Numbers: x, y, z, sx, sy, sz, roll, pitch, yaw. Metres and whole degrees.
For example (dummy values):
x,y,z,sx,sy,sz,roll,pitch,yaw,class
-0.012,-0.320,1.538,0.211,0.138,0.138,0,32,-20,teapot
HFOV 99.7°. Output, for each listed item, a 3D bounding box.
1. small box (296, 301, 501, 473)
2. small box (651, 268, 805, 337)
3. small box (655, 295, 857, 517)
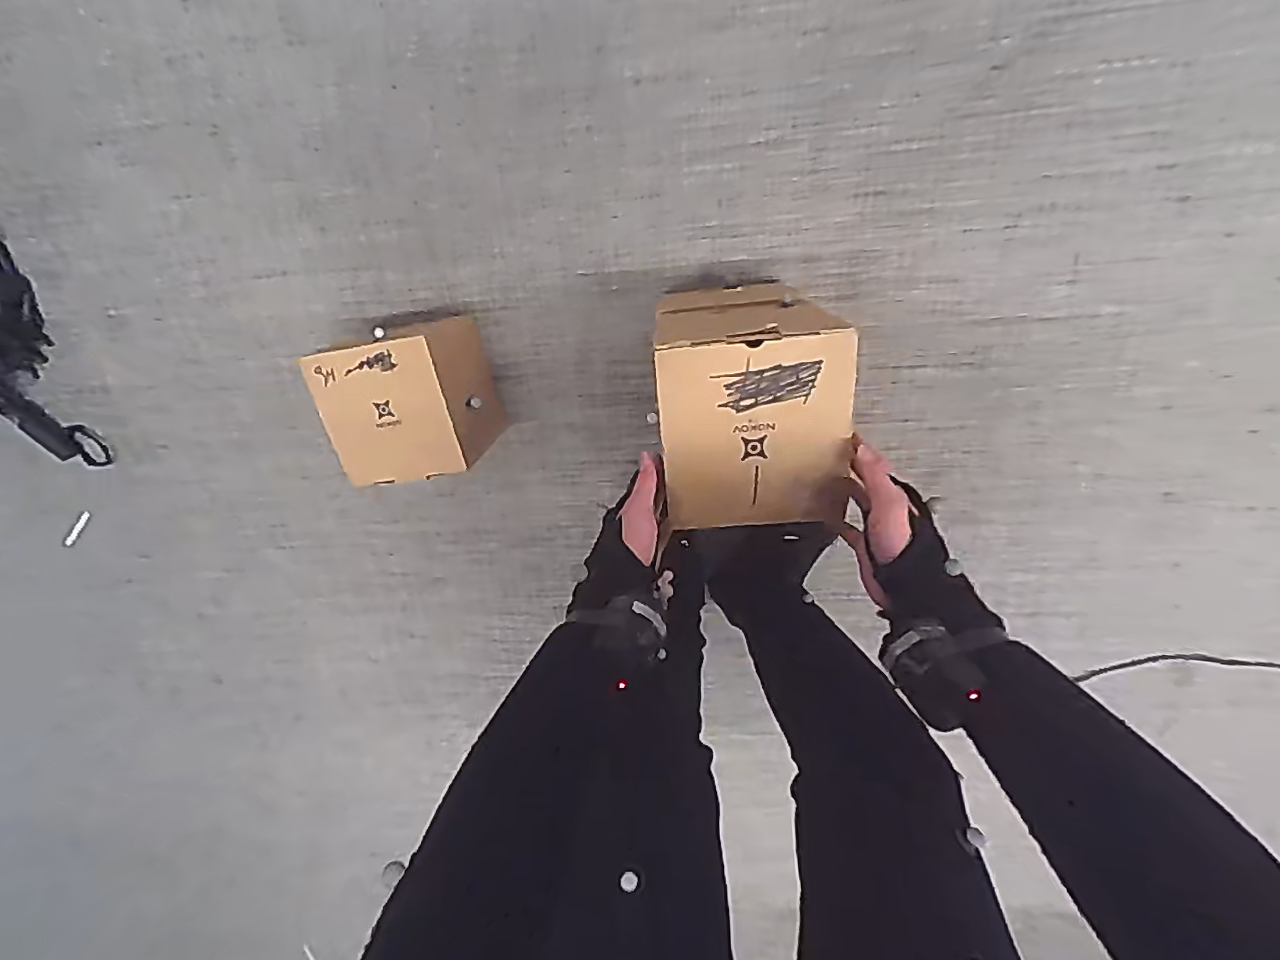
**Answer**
x,y,z,sx,sy,sz,roll,pitch,yaw,class
-0.305,-0.129,0.731,0.168,0.176,0.179,-7,116,8,small box
0.107,-0.161,0.683,0.168,0.176,0.179,-5,115,6,small box
0.102,-0.083,0.539,0.168,0.176,0.179,-4,117,6,small box
